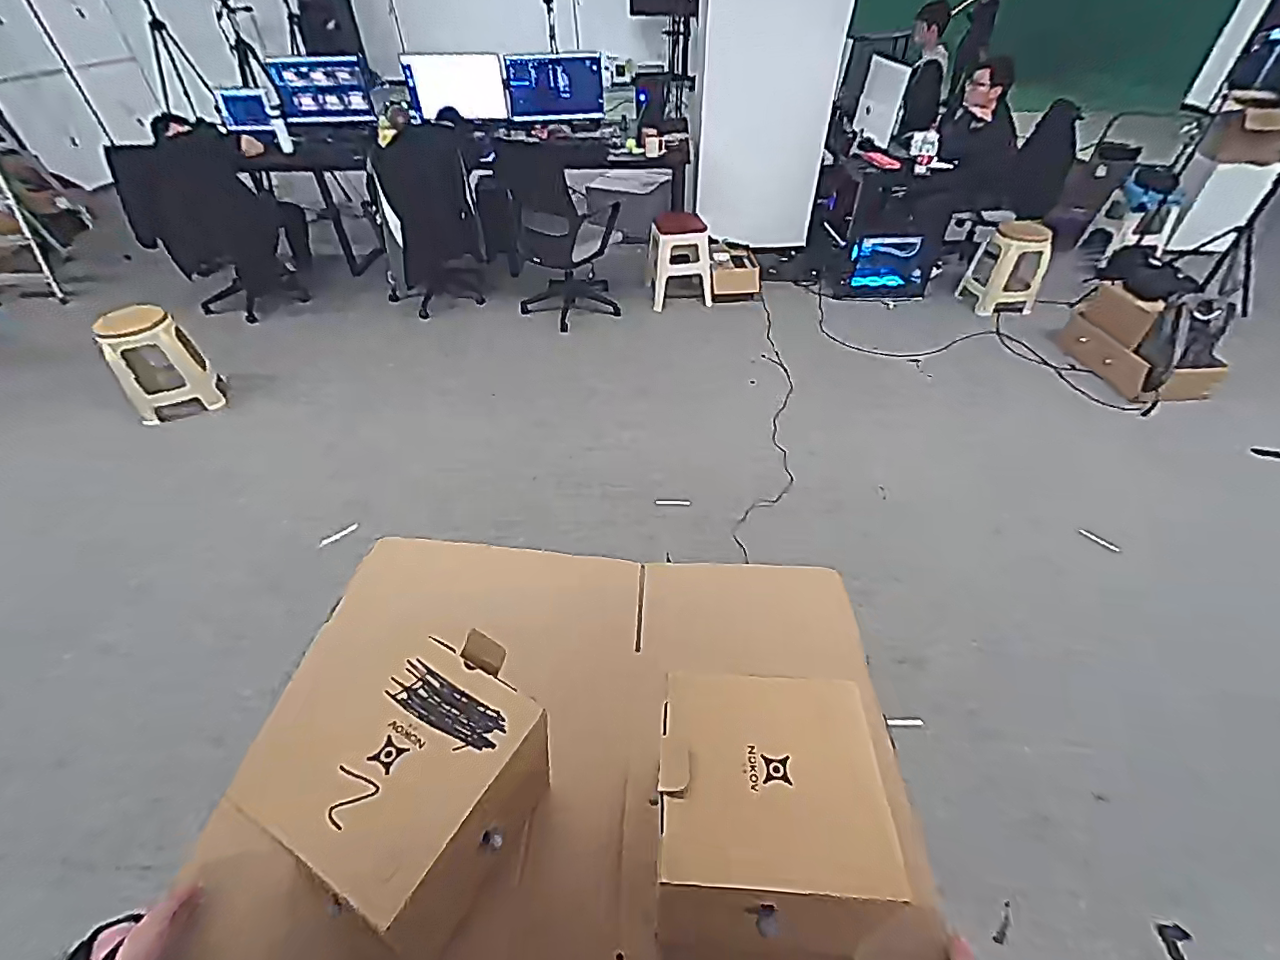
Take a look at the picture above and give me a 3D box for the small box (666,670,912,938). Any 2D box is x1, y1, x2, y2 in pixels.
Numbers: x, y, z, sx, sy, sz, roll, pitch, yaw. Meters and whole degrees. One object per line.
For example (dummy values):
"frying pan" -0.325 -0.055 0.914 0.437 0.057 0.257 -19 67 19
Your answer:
"small box" 0.115 0.298 0.500 0.179 0.176 0.168 1 40 4
